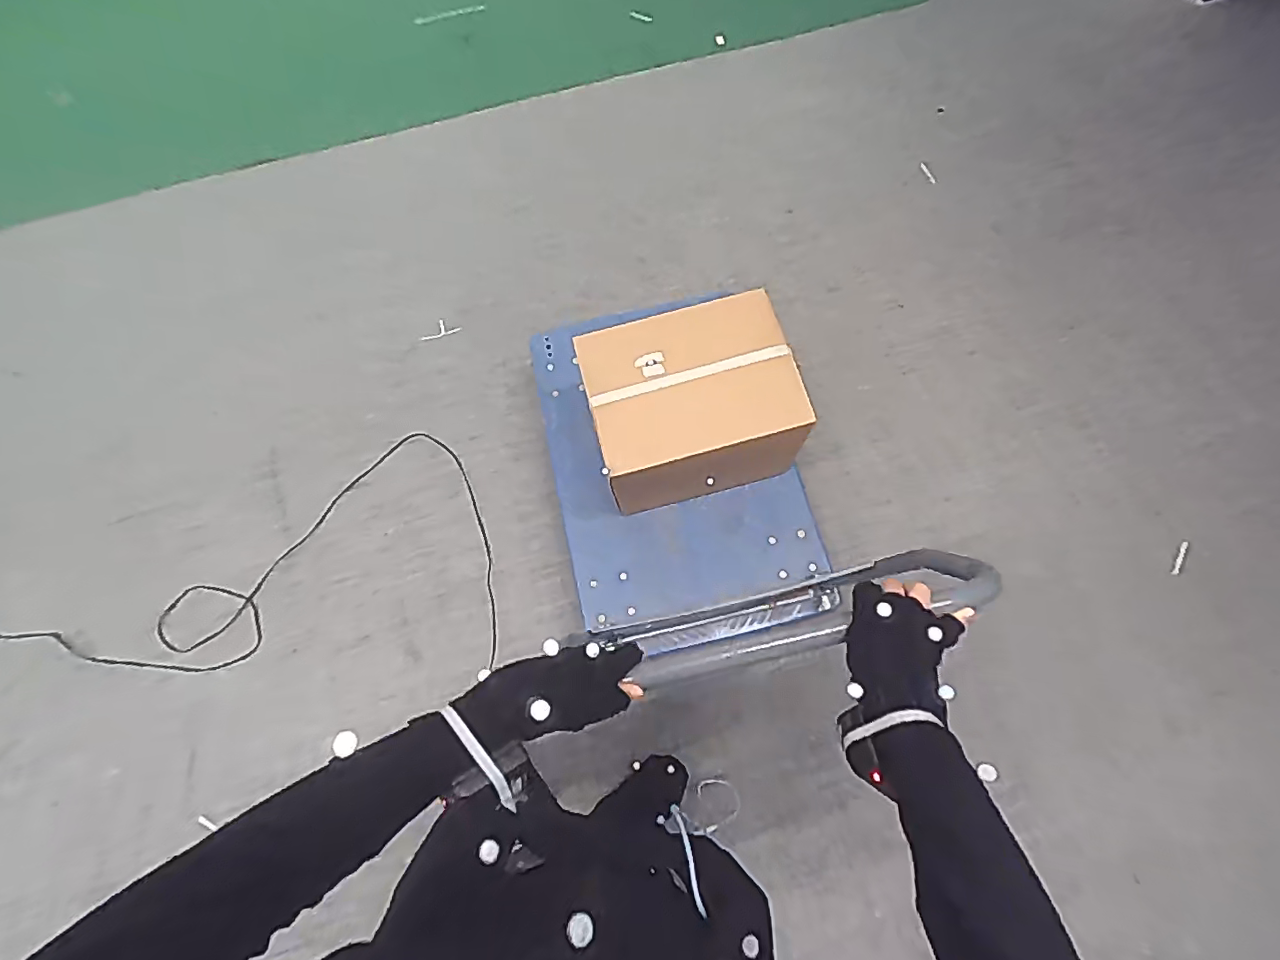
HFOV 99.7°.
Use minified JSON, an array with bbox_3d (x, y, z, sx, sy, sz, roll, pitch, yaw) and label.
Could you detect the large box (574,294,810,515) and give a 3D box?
[{"bbox_3d":[0.107,-0.148,1.210,0.408,0.320,0.320,-17,72,-1],"label":"large box"}]
